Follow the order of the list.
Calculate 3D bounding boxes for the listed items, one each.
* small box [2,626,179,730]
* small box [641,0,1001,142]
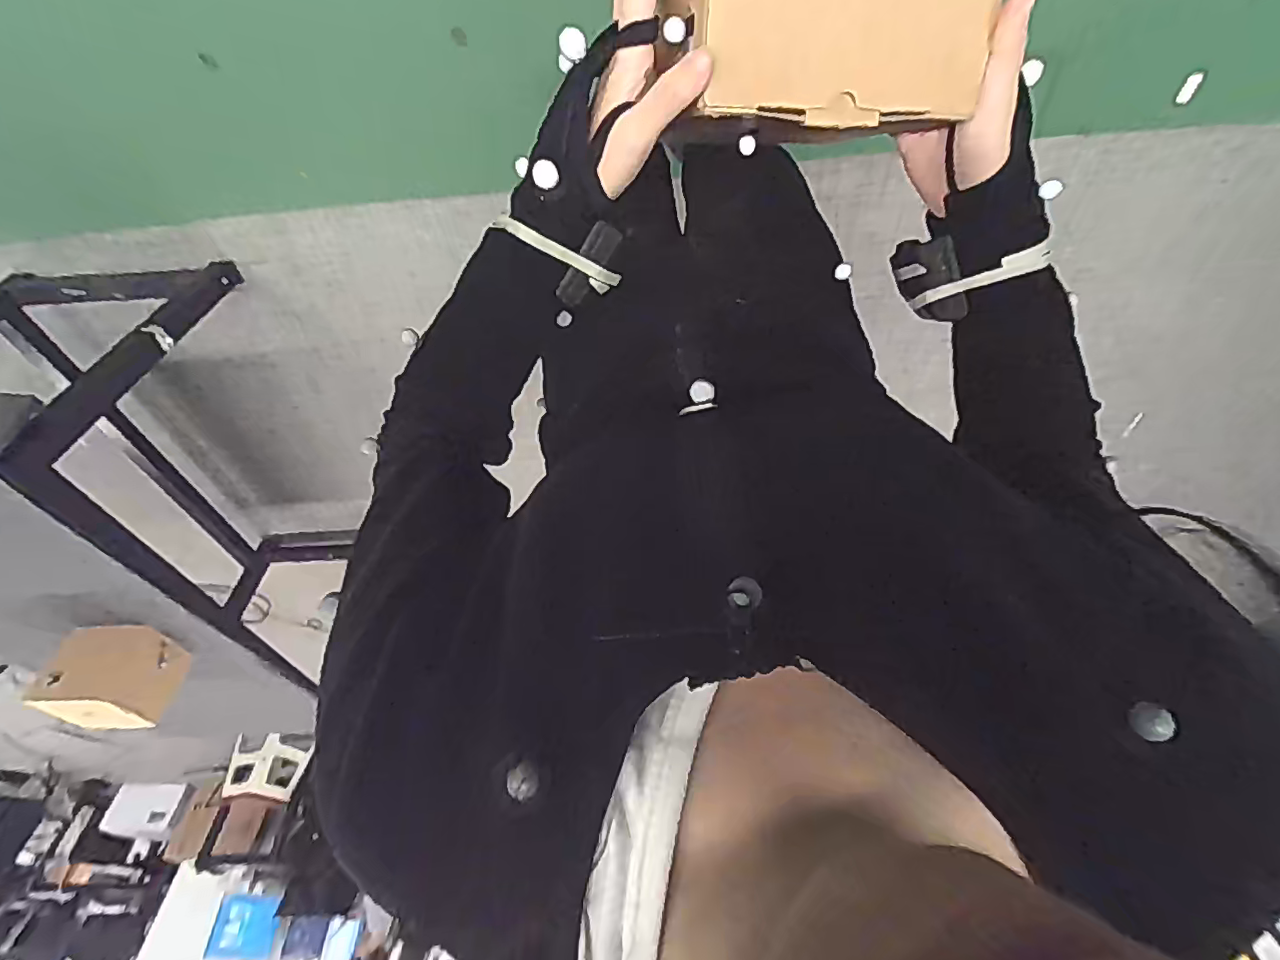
[{"bbox_3d":[-1.181,0.431,1.182,0.179,0.176,0.168,-2,138,2],"label":"small box"},{"bbox_3d":[0.097,-0.319,0.330,0.168,0.176,0.179,-6,118,-11],"label":"small box"}]
